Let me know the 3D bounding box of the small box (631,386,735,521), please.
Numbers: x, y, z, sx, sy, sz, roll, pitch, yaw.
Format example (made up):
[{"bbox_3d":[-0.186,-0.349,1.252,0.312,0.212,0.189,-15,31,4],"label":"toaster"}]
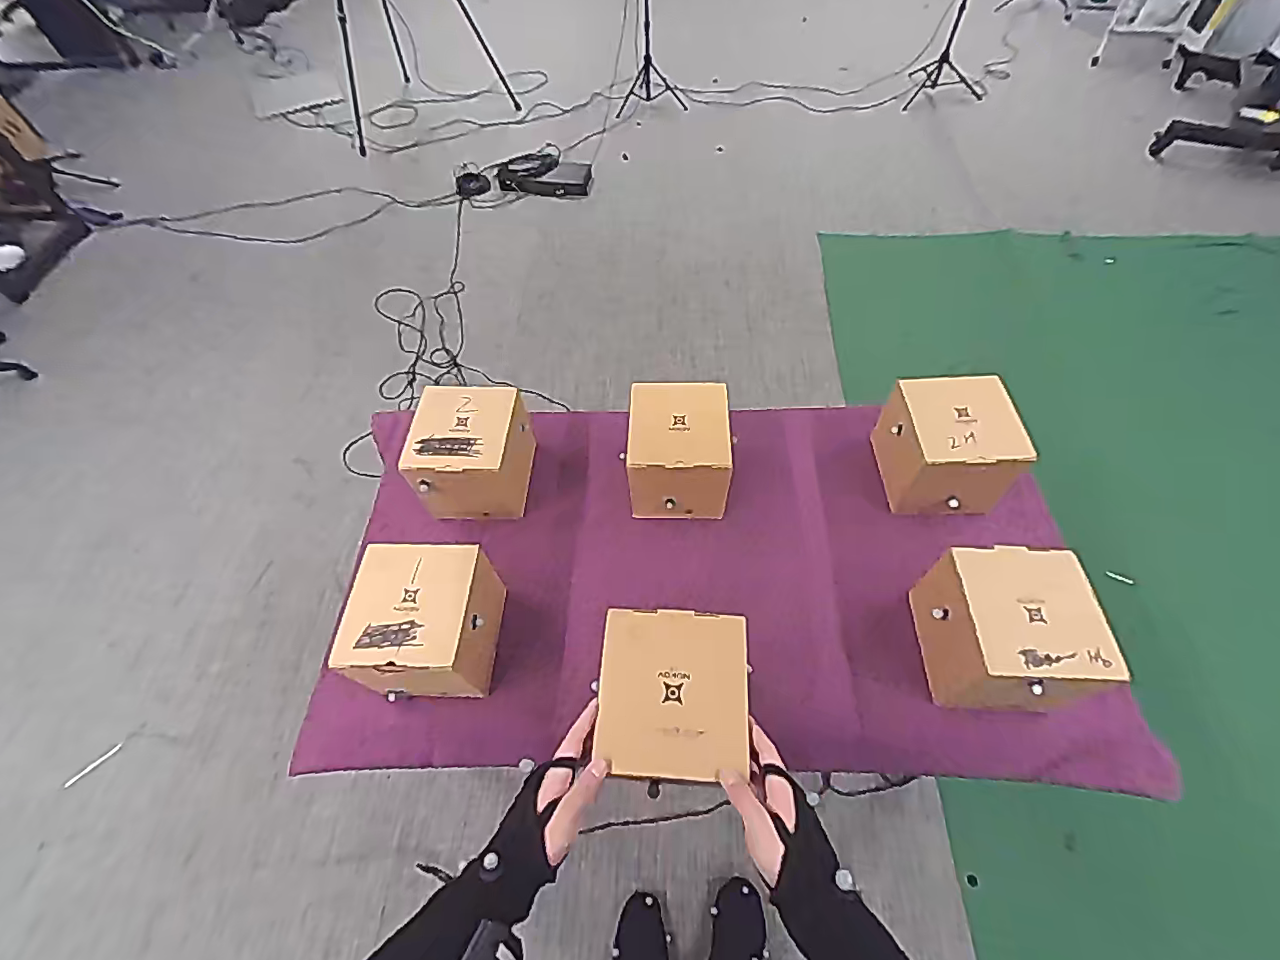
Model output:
[{"bbox_3d":[0.071,-0.045,0.952,0.168,0.176,0.179,0,58,2],"label":"small box"}]

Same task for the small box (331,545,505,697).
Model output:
[{"bbox_3d":[-0.306,0.211,0.792,0.168,0.176,0.179,1,56,2],"label":"small box"}]

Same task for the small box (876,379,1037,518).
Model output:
[{"bbox_3d":[0.525,-0.051,0.932,0.168,0.176,0.179,-2,57,4],"label":"small box"}]

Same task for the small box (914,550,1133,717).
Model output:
[{"bbox_3d":[0.510,0.216,0.757,0.168,0.176,0.179,1,54,4],"label":"small box"}]
